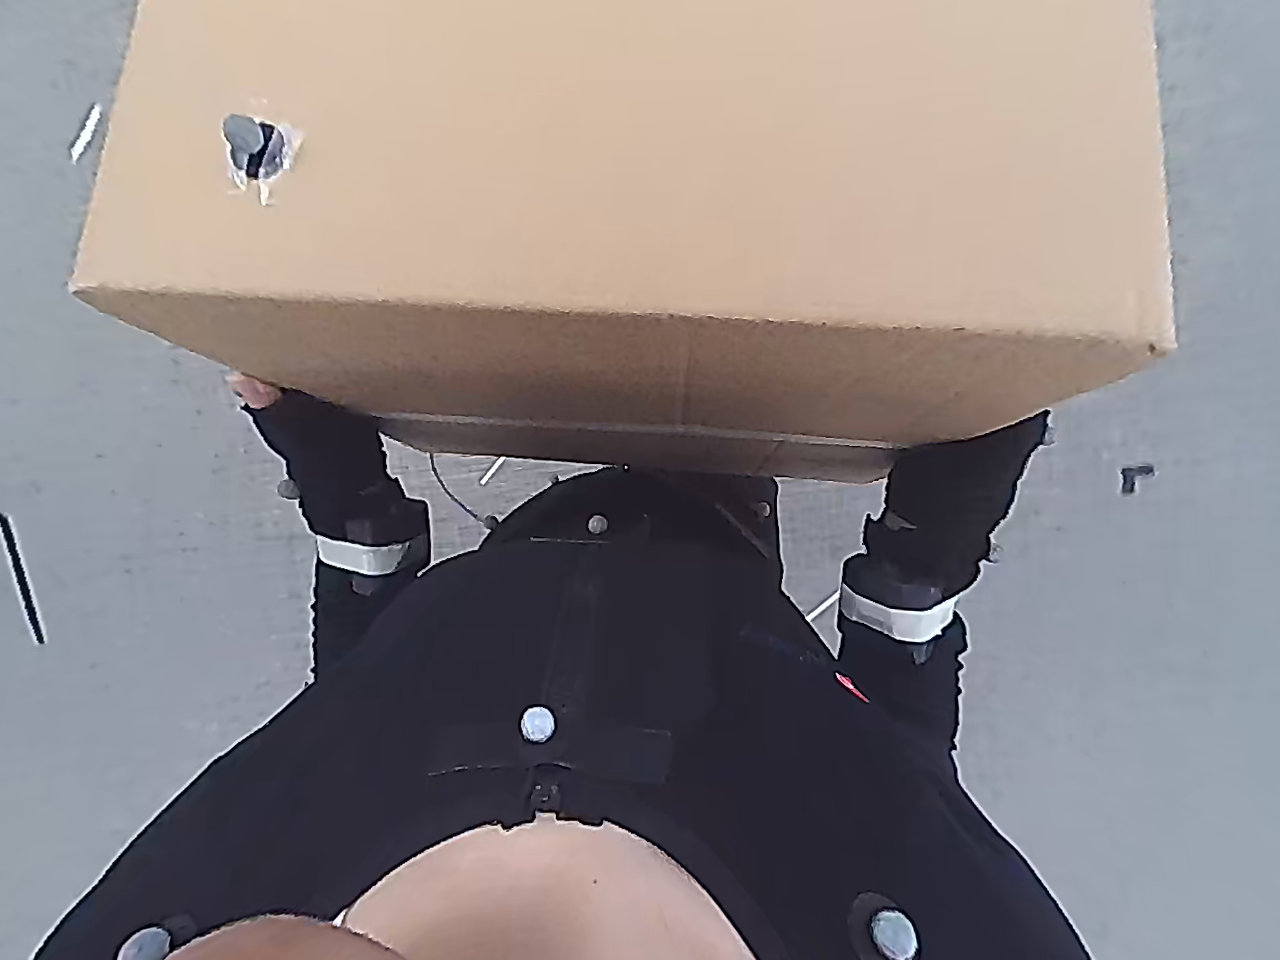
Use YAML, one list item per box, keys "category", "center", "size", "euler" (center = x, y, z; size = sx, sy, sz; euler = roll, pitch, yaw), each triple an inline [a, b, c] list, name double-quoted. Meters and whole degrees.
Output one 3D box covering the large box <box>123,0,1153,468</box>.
- category: "large box"
  center: [0.000, -0.195, 0.374]
  size: [0.408, 0.320, 0.320]
  euler: [3, 82, 3]
